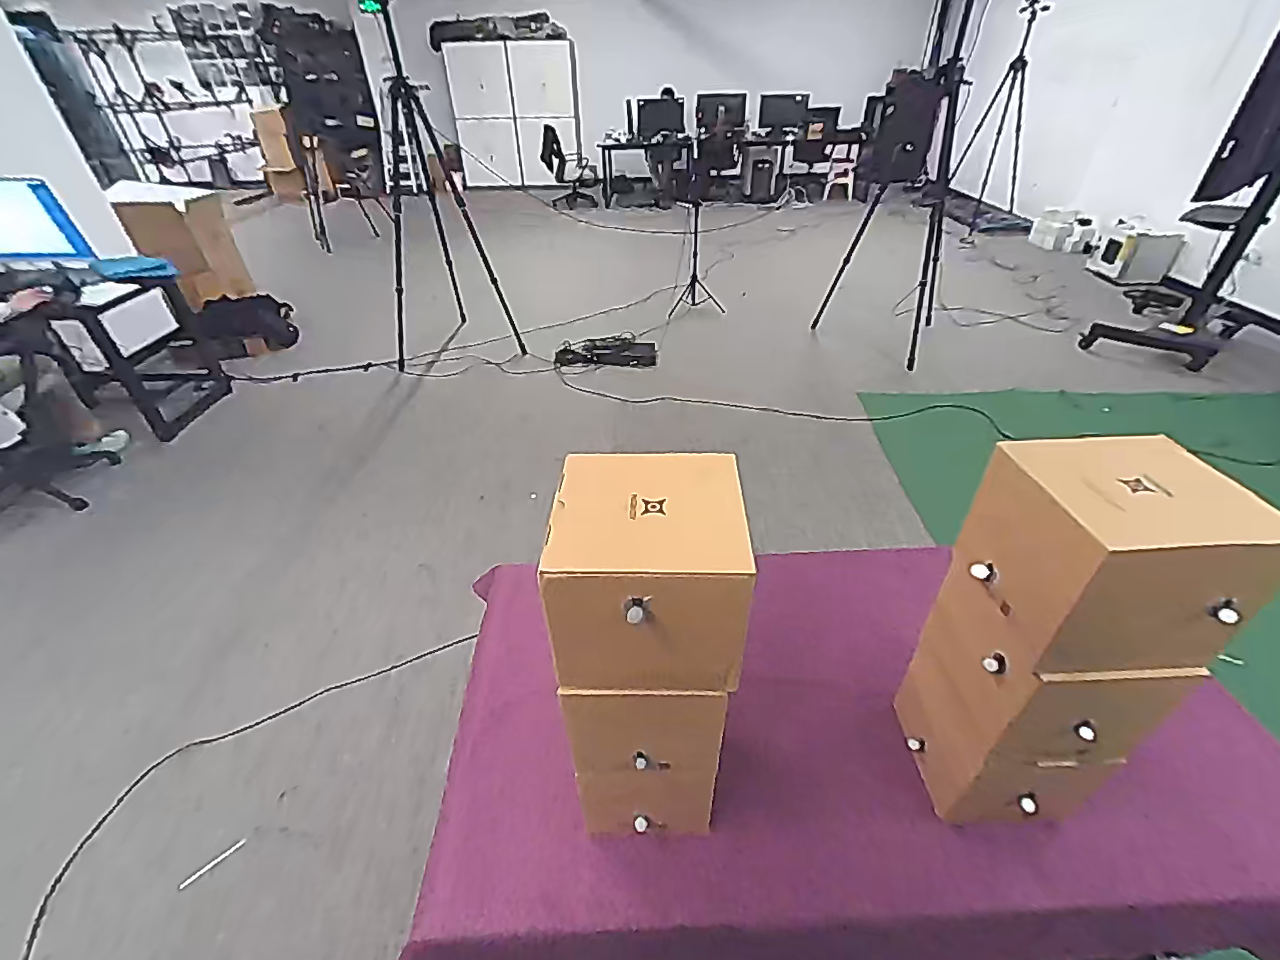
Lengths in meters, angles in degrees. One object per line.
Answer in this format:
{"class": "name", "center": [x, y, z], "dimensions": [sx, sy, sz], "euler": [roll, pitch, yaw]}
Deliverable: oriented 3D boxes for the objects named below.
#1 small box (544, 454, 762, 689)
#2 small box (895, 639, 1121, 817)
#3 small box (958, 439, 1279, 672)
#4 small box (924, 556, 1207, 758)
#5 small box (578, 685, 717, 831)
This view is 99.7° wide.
{"class": "small box", "center": [0.015, 0.090, 0.538], "dimensions": [0.179, 0.176, 0.168], "euler": [0, 38, 3]}
{"class": "small box", "center": [0.478, 0.338, 0.738], "dimensions": [0.168, 0.176, 0.179], "euler": [-1, 38, 0]}
{"class": "small box", "center": [0.463, 0.074, 0.542], "dimensions": [0.179, 0.176, 0.168], "euler": [-2, 36, 1]}
{"class": "small box", "center": [0.470, 0.207, 0.637], "dimensions": [0.168, 0.176, 0.179], "euler": [-1, 37, 0]}
{"class": "small box", "center": [0.011, 0.348, 0.739], "dimensions": [0.168, 0.176, 0.179], "euler": [0, 39, 2]}
